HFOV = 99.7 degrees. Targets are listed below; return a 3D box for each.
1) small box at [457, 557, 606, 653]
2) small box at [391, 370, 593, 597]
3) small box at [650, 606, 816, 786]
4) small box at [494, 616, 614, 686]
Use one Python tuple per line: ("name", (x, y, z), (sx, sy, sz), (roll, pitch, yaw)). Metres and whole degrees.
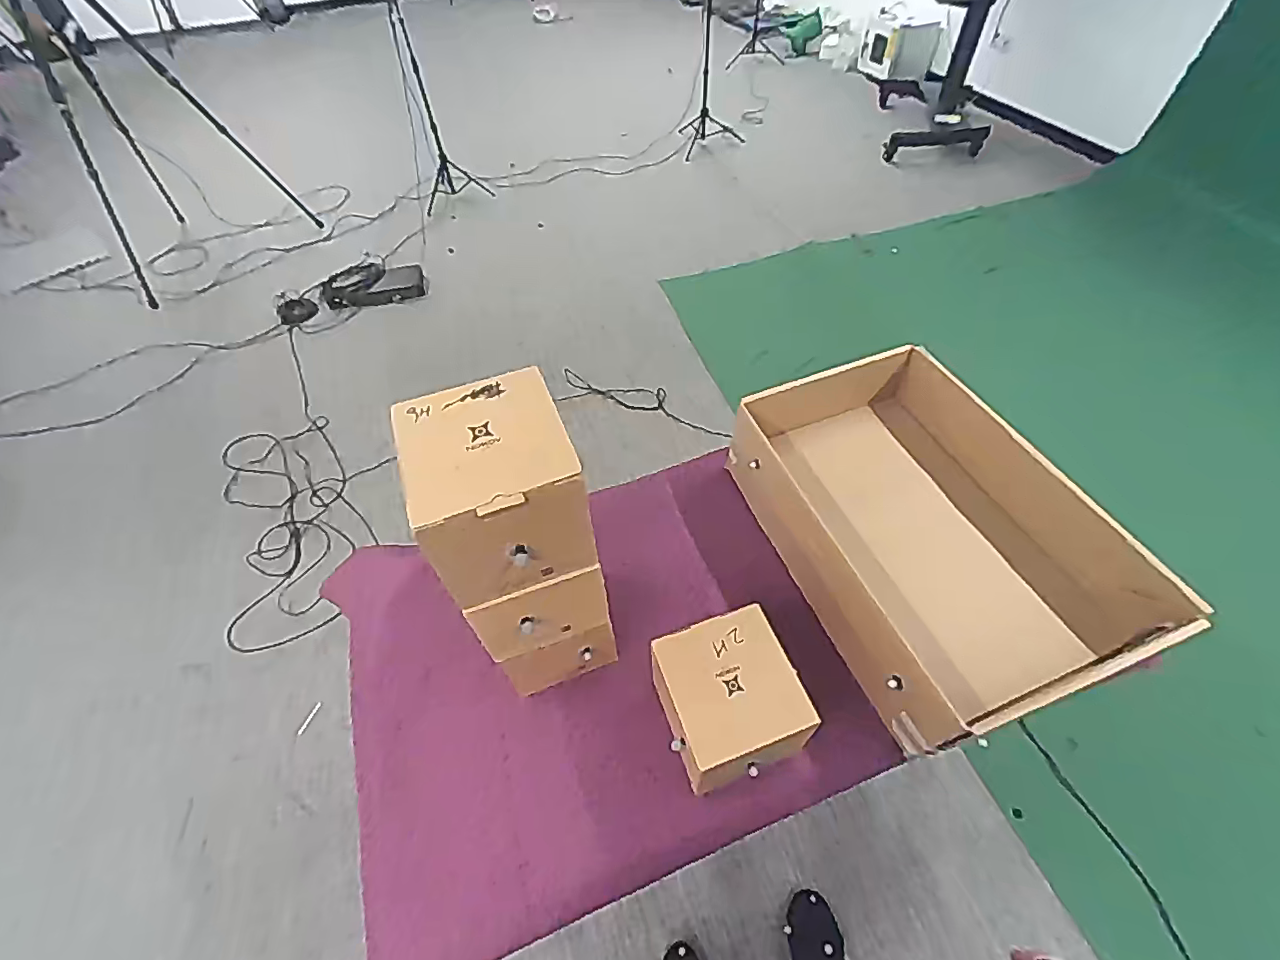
("small box", (-0.152, 0.115, 0.736), (0.168, 0.176, 0.179), (-18, 53, -11))
("small box", (-0.158, 0.011, 0.609), (0.168, 0.176, 0.179), (-18, 54, -12))
("small box", (0.120, 0.313, 0.769), (0.168, 0.176, 0.179), (-16, 53, -10))
("small box", (-0.146, 0.210, 0.867), (0.168, 0.176, 0.179), (-17, 53, -11))
